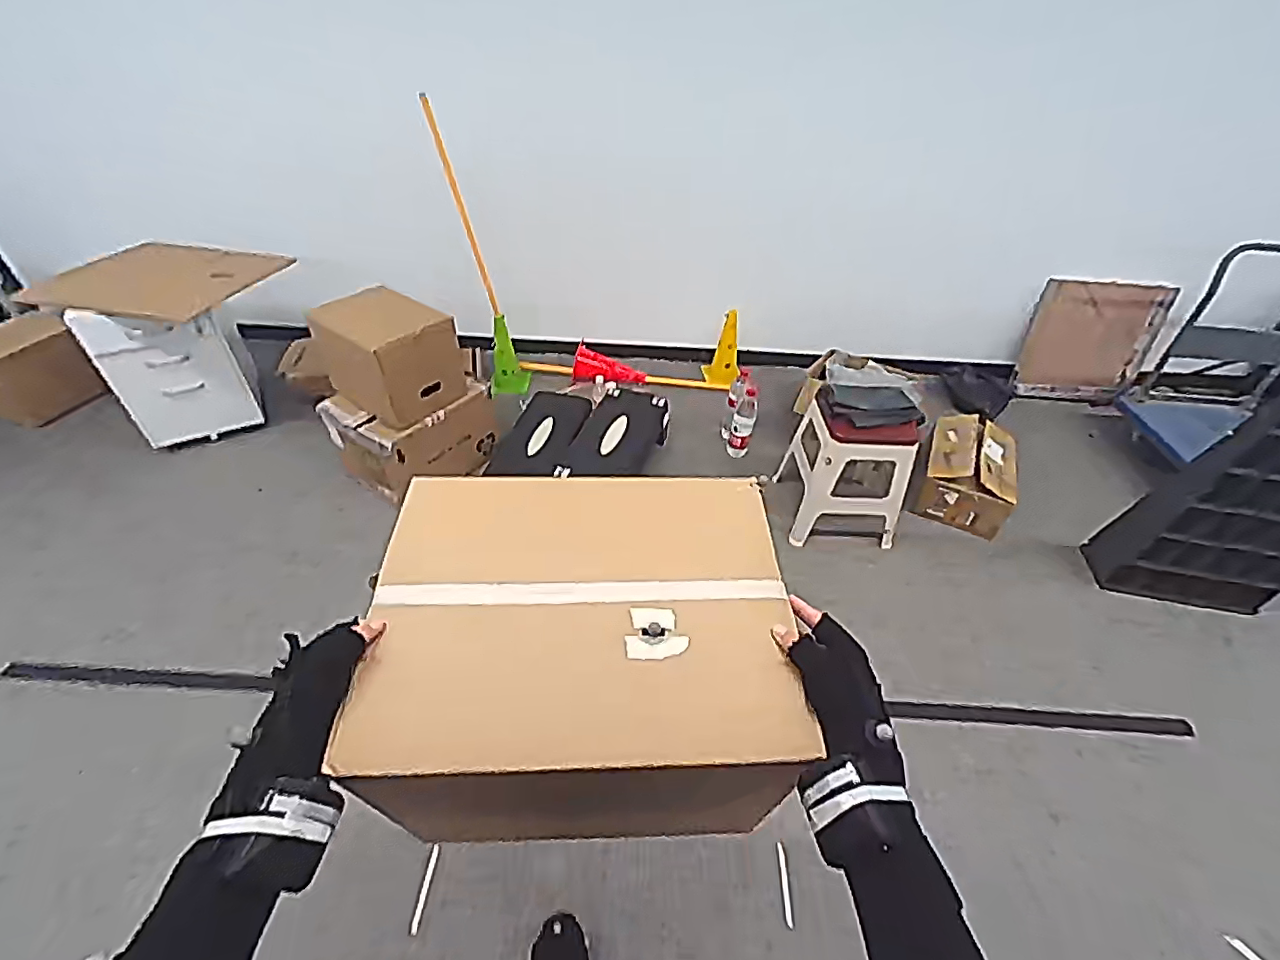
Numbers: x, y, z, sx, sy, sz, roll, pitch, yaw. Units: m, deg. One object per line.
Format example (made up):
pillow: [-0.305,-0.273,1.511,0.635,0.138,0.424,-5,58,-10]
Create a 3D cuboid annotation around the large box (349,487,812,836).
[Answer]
large box: [-0.062,0.222,0.667,0.408,0.320,0.320,1,48,-4]
